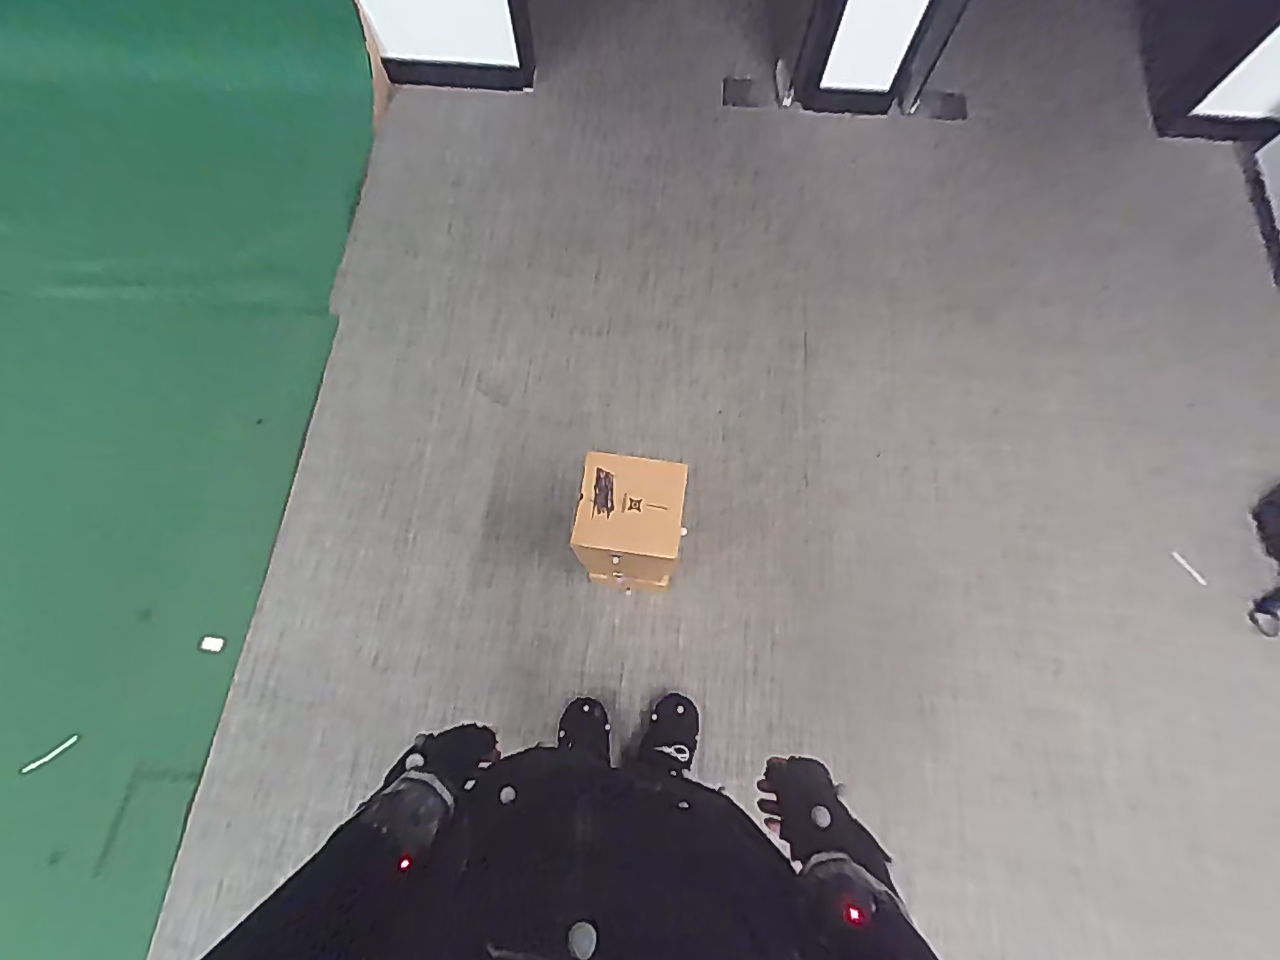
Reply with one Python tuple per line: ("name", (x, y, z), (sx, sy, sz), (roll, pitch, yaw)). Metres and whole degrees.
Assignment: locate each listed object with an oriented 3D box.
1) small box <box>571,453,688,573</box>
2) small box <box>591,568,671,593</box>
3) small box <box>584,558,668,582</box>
("small box", (-0.015, 0.066, 0.974), (0.179, 0.176, 0.168), (8, 72, 3))
("small box", (-0.015, 0.170, 1.284), (0.179, 0.176, 0.168), (7, 72, 1))
("small box", (-0.019, 0.108, 1.133), (0.168, 0.176, 0.179), (6, 73, 3))
